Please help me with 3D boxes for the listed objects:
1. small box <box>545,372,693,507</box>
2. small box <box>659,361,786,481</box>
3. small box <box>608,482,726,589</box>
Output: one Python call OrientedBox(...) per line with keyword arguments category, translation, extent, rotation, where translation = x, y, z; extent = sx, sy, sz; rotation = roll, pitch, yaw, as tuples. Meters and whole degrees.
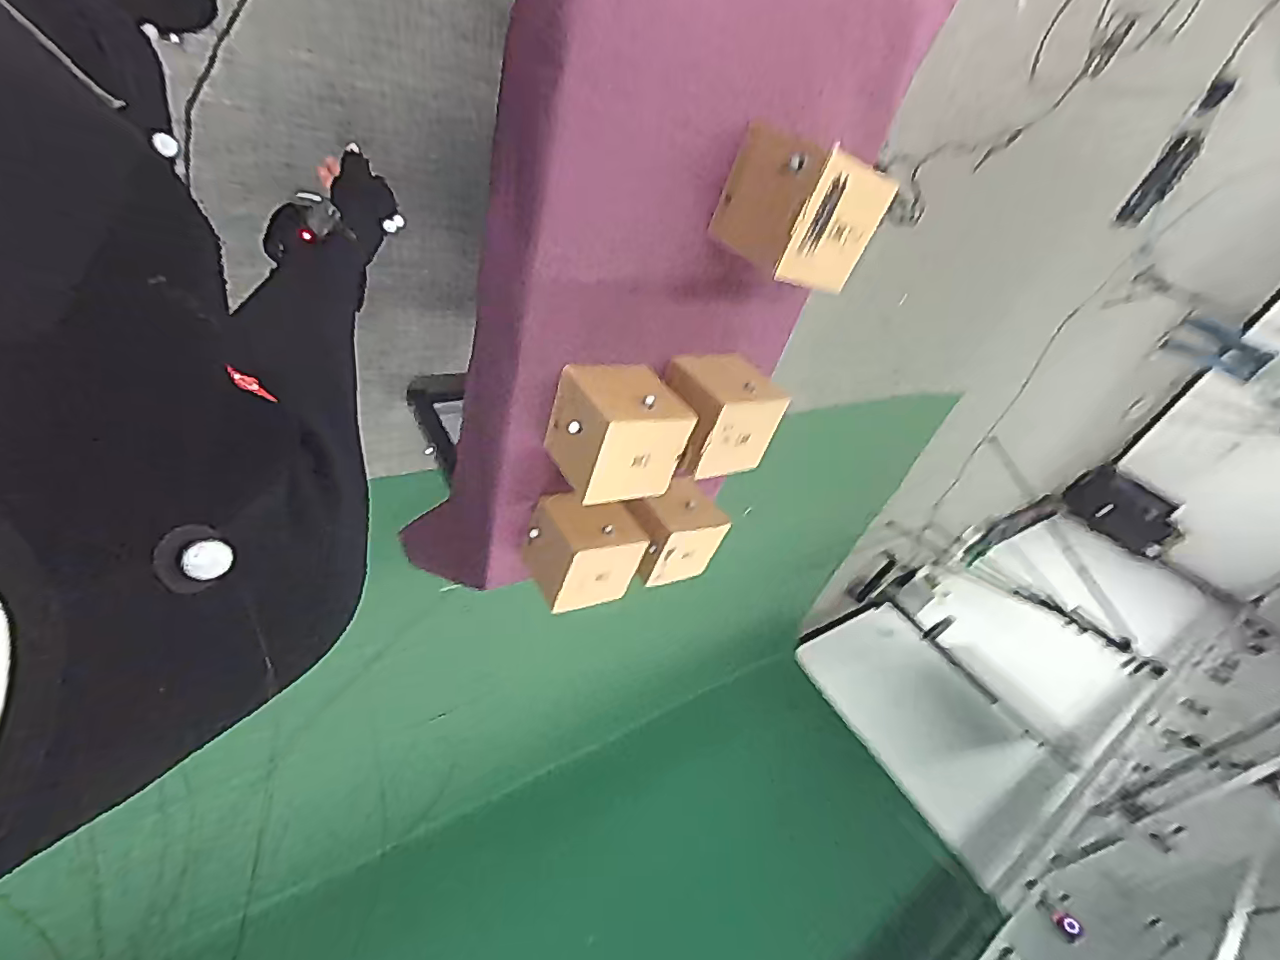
OrientedBox(category="small box", translation=(-0.046, -0.076, 0.943), extent=(0.179, 0.176, 0.168), rotation=(-7, 133, -36))
OrientedBox(category="small box", translation=(0.142, -0.121, 1.058), extent=(0.179, 0.176, 0.168), rotation=(-9, 134, -34))
OrientedBox(category="small box", translation=(0.056, 0.119, 1.240), extent=(0.179, 0.176, 0.168), rotation=(-6, 132, -38))
